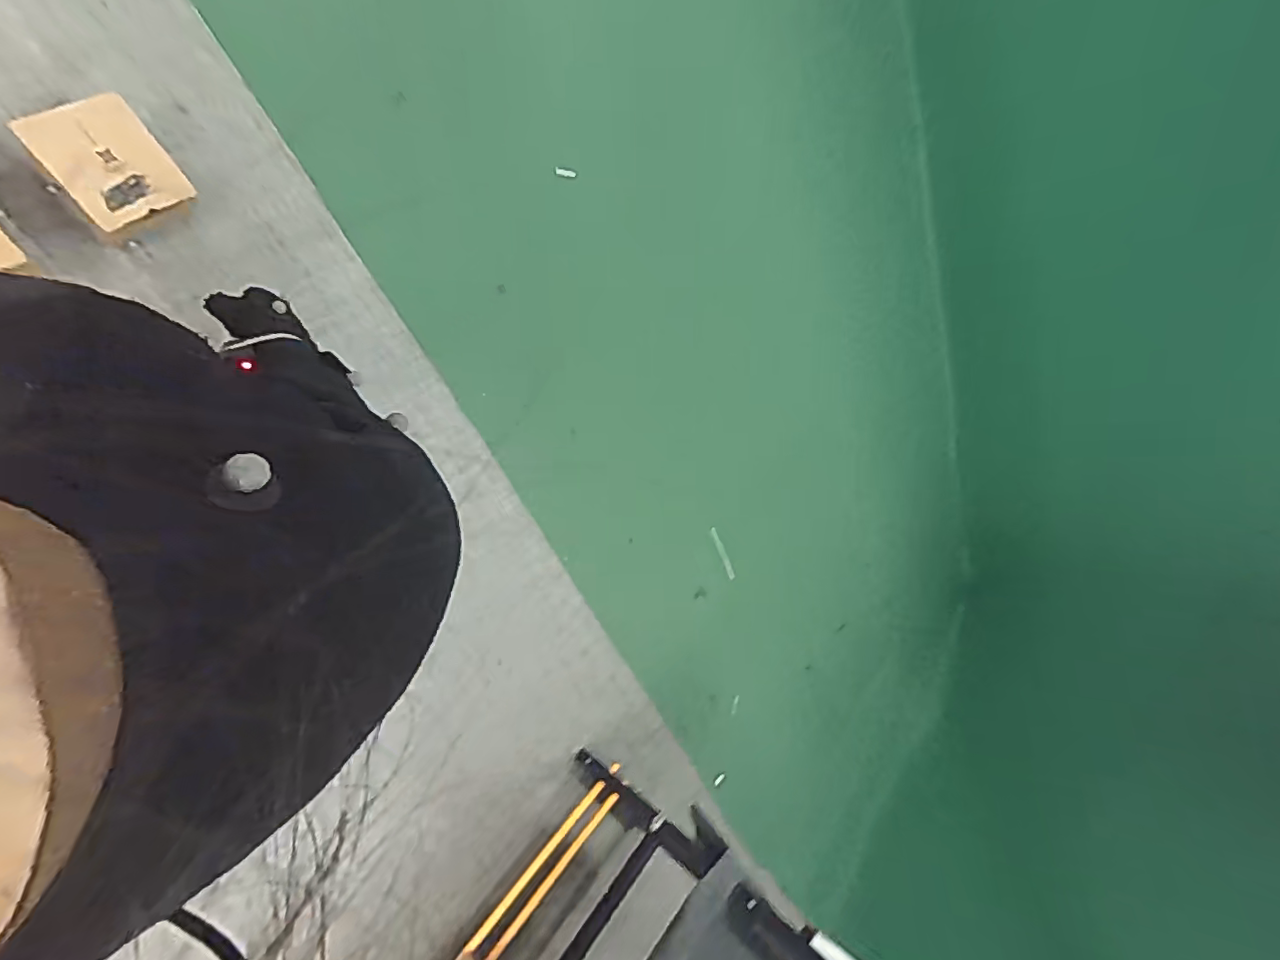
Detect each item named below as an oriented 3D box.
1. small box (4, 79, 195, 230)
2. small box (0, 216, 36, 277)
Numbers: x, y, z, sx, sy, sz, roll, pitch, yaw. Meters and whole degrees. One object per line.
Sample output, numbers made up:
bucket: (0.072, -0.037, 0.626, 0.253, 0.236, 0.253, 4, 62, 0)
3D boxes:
small box: (-0.950, -0.569, 0.971, 0.168, 0.176, 0.179, -45, 125, -26)
small box: (-1.125, -0.406, 0.848, 0.168, 0.176, 0.179, -42, 124, -28)
